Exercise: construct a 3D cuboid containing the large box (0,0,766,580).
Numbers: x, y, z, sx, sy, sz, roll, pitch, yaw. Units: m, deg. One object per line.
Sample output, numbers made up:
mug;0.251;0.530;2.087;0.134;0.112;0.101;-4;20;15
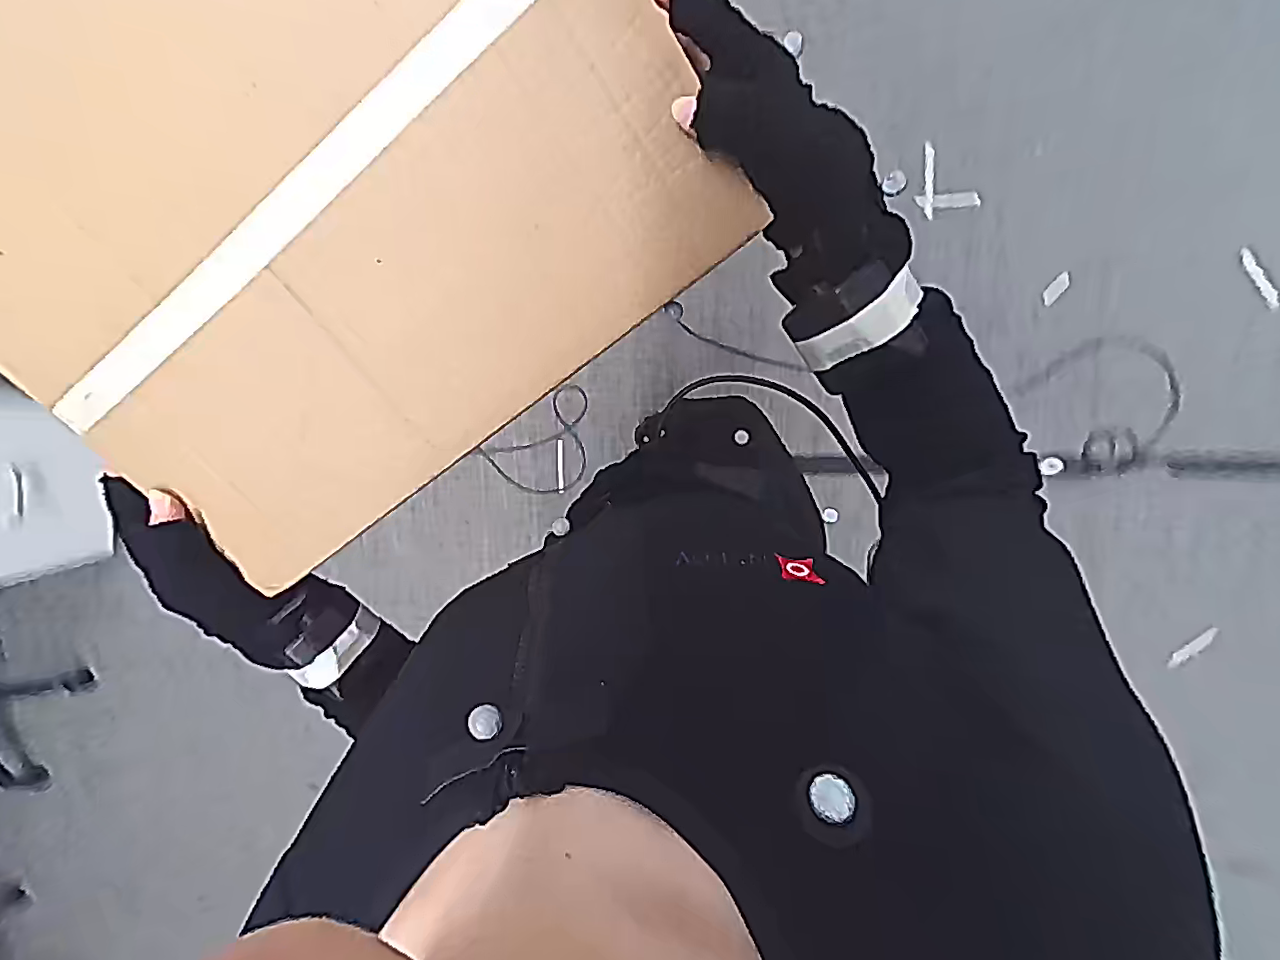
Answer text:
large box;-0.172;-0.204;0.435;0.408;0.320;0.320;-33;107;13
